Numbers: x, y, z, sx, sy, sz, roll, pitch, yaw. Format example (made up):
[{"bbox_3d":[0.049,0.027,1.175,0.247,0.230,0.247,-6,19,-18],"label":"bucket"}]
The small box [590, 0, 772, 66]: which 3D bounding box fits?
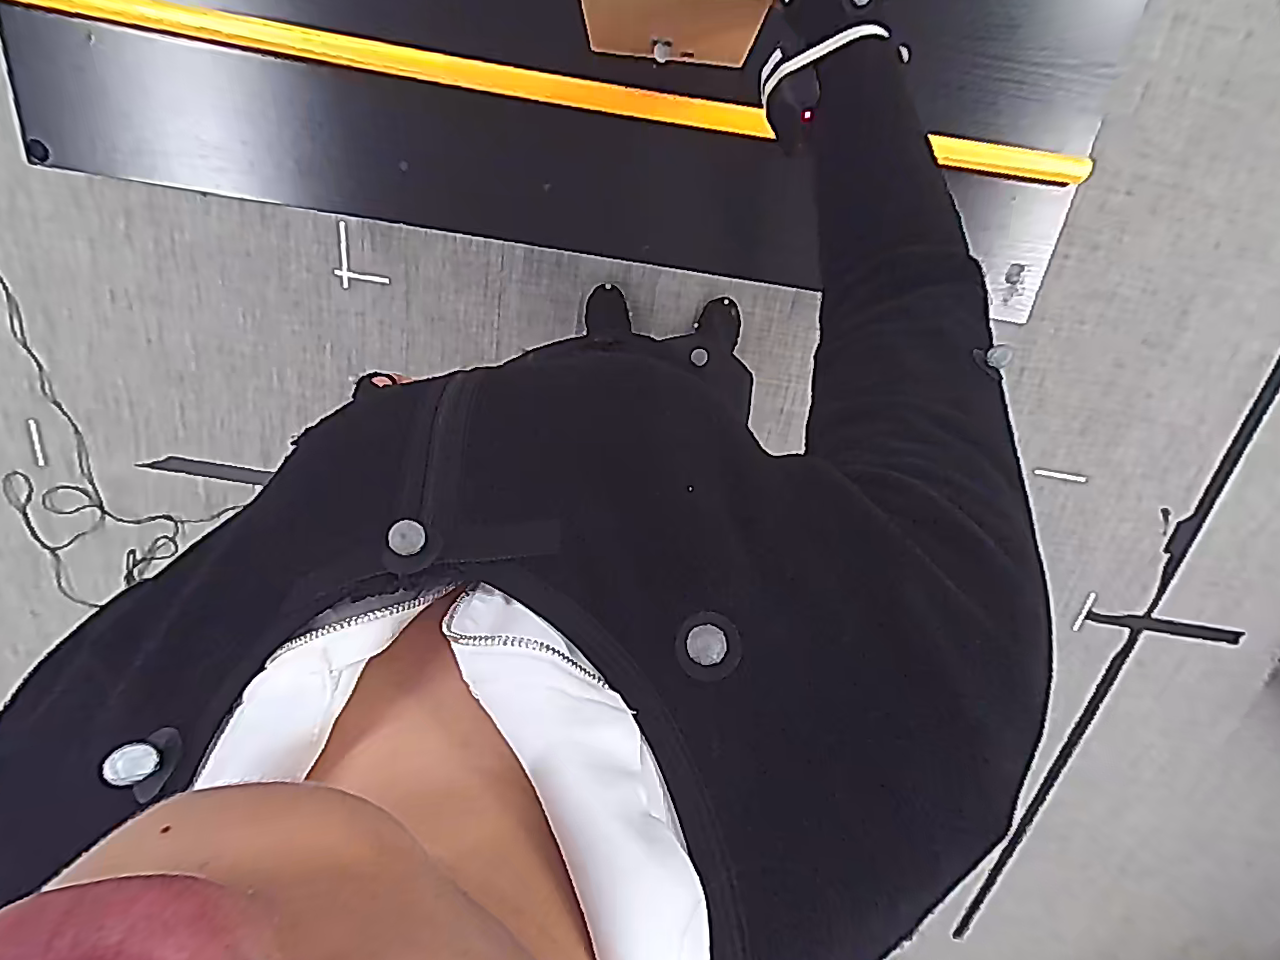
[{"bbox_3d":[0.039,-0.514,0.486,0.168,0.176,0.179,6,111,-1],"label":"small box"}]
